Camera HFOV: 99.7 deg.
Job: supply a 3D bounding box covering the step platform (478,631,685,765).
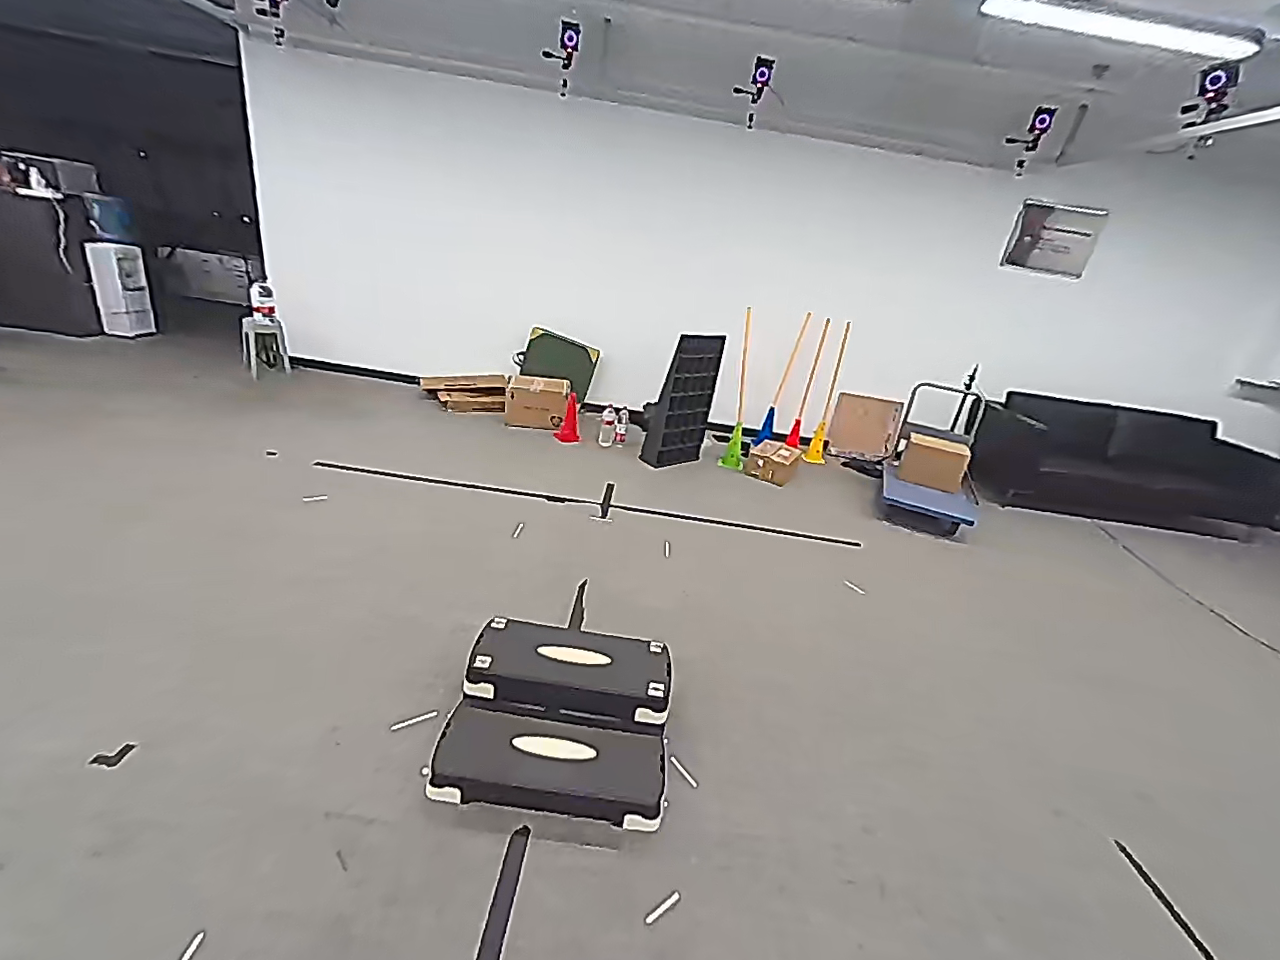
[{"bbox_3d":[-0.189,0.725,1.838,0.684,0.204,0.286,11,22,4],"label":"step platform"}]
